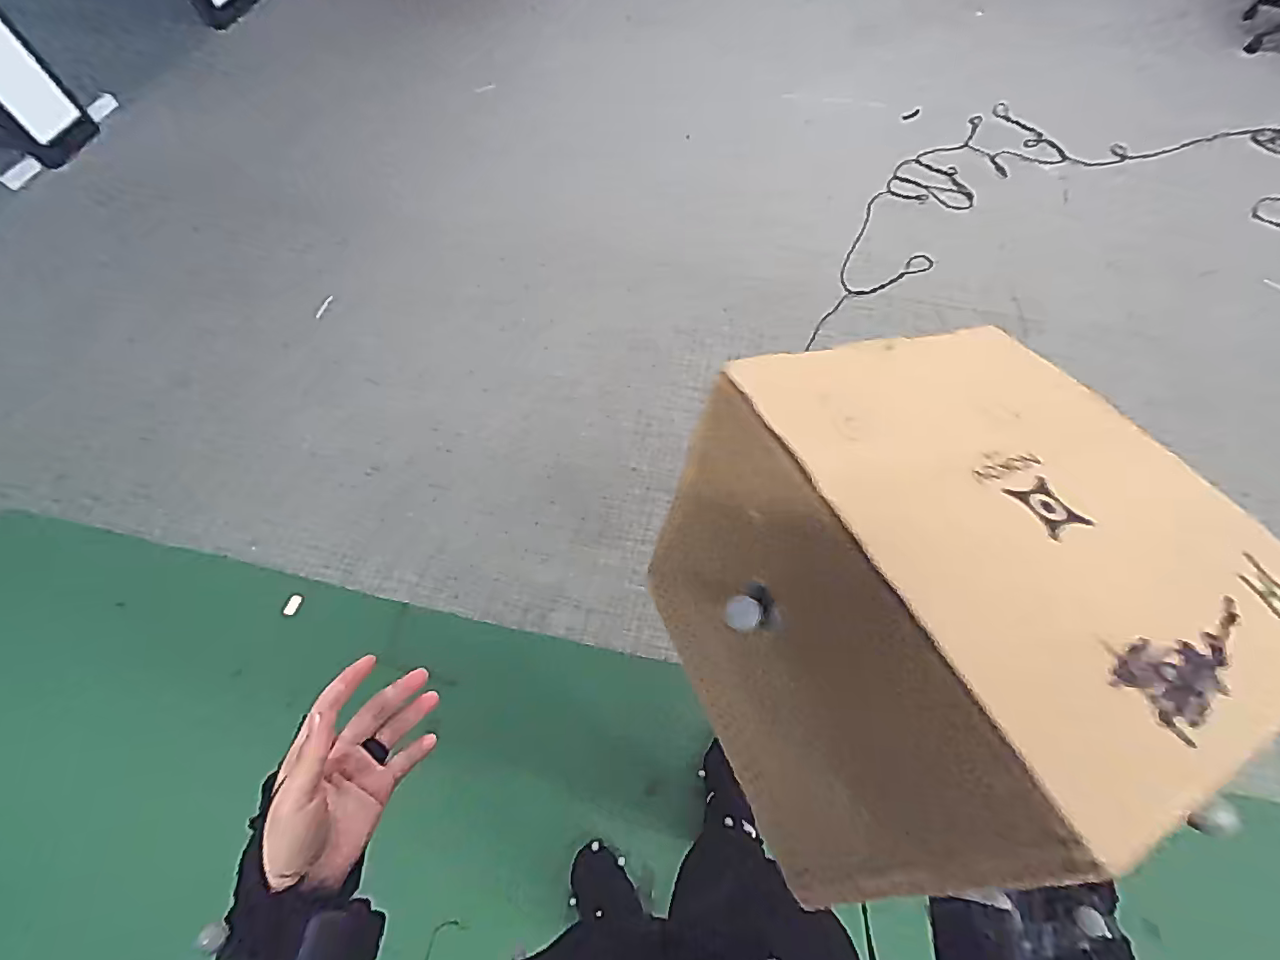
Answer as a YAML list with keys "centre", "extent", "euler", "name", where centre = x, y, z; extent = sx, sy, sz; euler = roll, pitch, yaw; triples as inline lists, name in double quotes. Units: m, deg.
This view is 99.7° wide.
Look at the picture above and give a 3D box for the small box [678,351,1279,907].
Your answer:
- centre: [0.136, 0.064, 0.260]
  extent: [0.168, 0.176, 0.179]
  euler: [-13, 53, -23]
  name: "small box"
